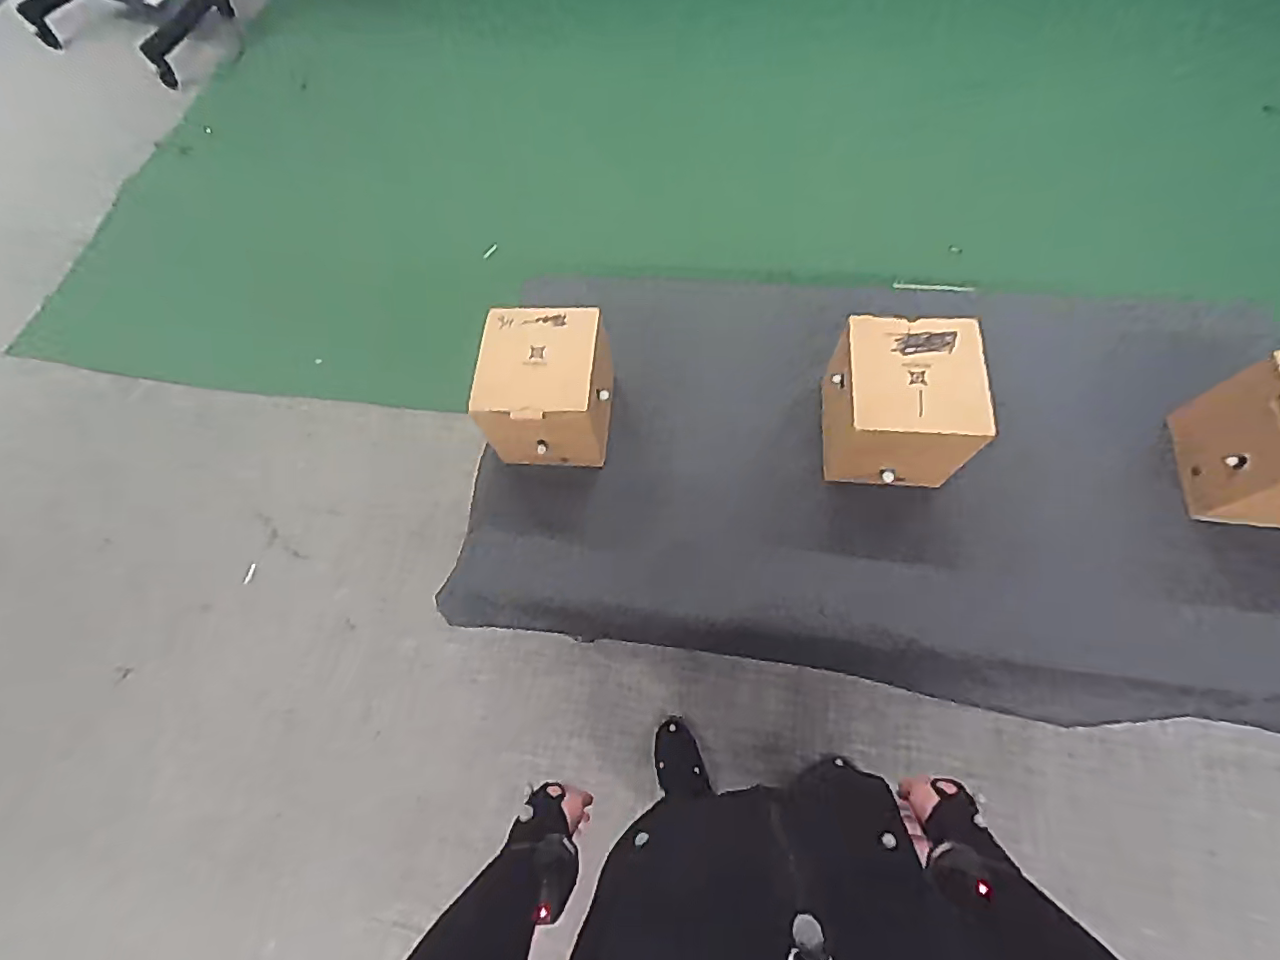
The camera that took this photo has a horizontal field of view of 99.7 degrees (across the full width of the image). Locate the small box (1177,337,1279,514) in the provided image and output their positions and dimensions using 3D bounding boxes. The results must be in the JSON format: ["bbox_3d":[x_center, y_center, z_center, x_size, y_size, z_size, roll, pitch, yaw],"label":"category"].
[{"bbox_3d":[0.841,-0.060,0.684,0.179,0.176,0.168,7,70,7],"label":"small box"}]

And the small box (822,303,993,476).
[{"bbox_3d":[0.357,-0.122,0.757,0.168,0.176,0.179,4,70,7],"label":"small box"}]

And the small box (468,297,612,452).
[{"bbox_3d":[-0.138,-0.152,0.818,0.168,0.176,0.179,2,69,6],"label":"small box"}]
